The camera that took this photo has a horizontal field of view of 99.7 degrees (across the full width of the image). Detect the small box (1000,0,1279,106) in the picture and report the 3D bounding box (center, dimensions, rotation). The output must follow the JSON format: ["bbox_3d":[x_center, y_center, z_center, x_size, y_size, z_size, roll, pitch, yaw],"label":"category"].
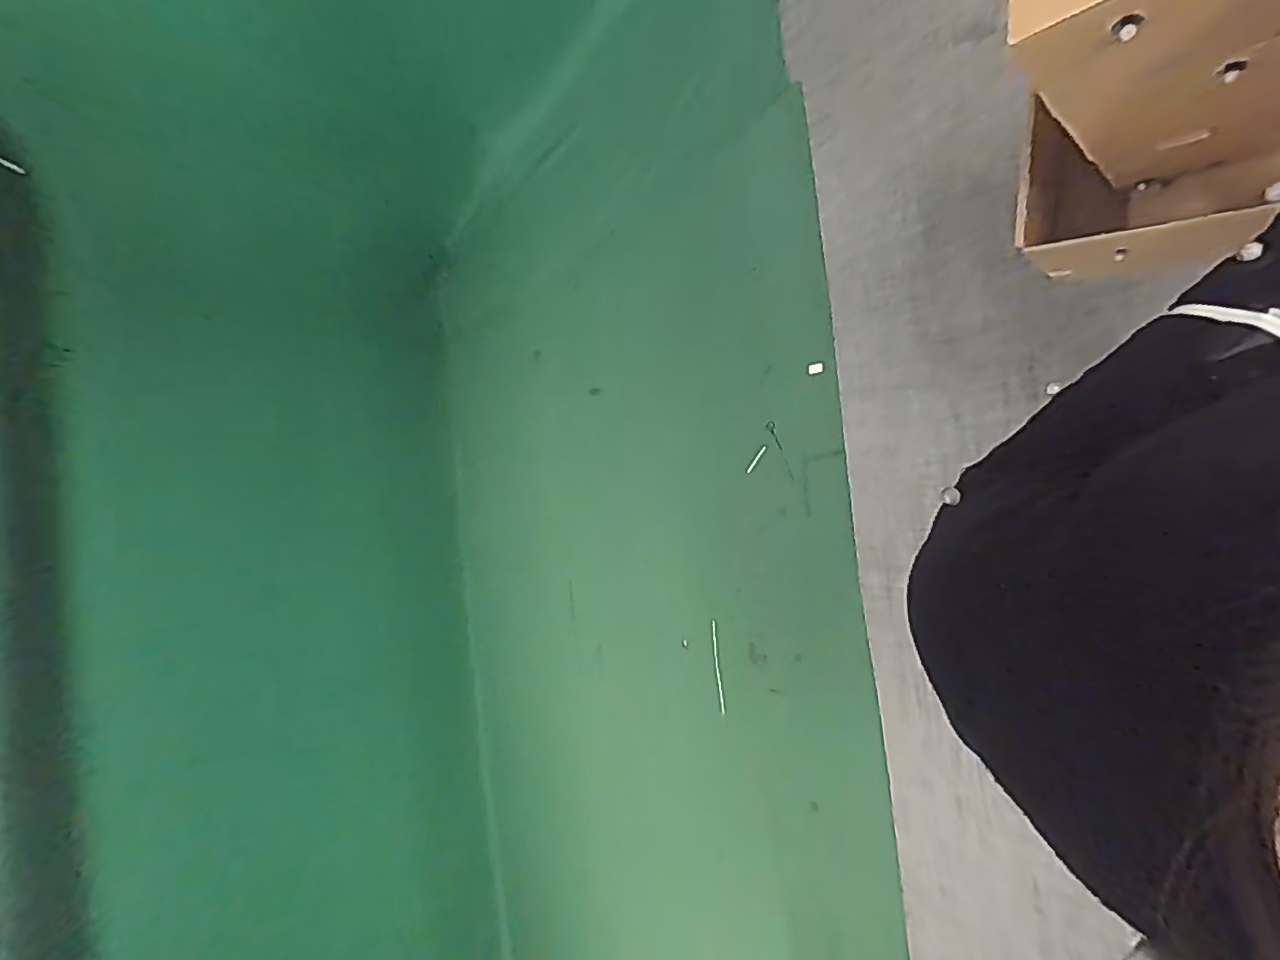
[{"bbox_3d":[0.443,-0.470,0.470,0.179,0.176,0.168,6,99,48],"label":"small box"}]

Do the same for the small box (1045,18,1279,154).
[{"bbox_3d":[0.566,-0.484,0.578,0.179,0.176,0.168,6,99,47],"label":"small box"}]
